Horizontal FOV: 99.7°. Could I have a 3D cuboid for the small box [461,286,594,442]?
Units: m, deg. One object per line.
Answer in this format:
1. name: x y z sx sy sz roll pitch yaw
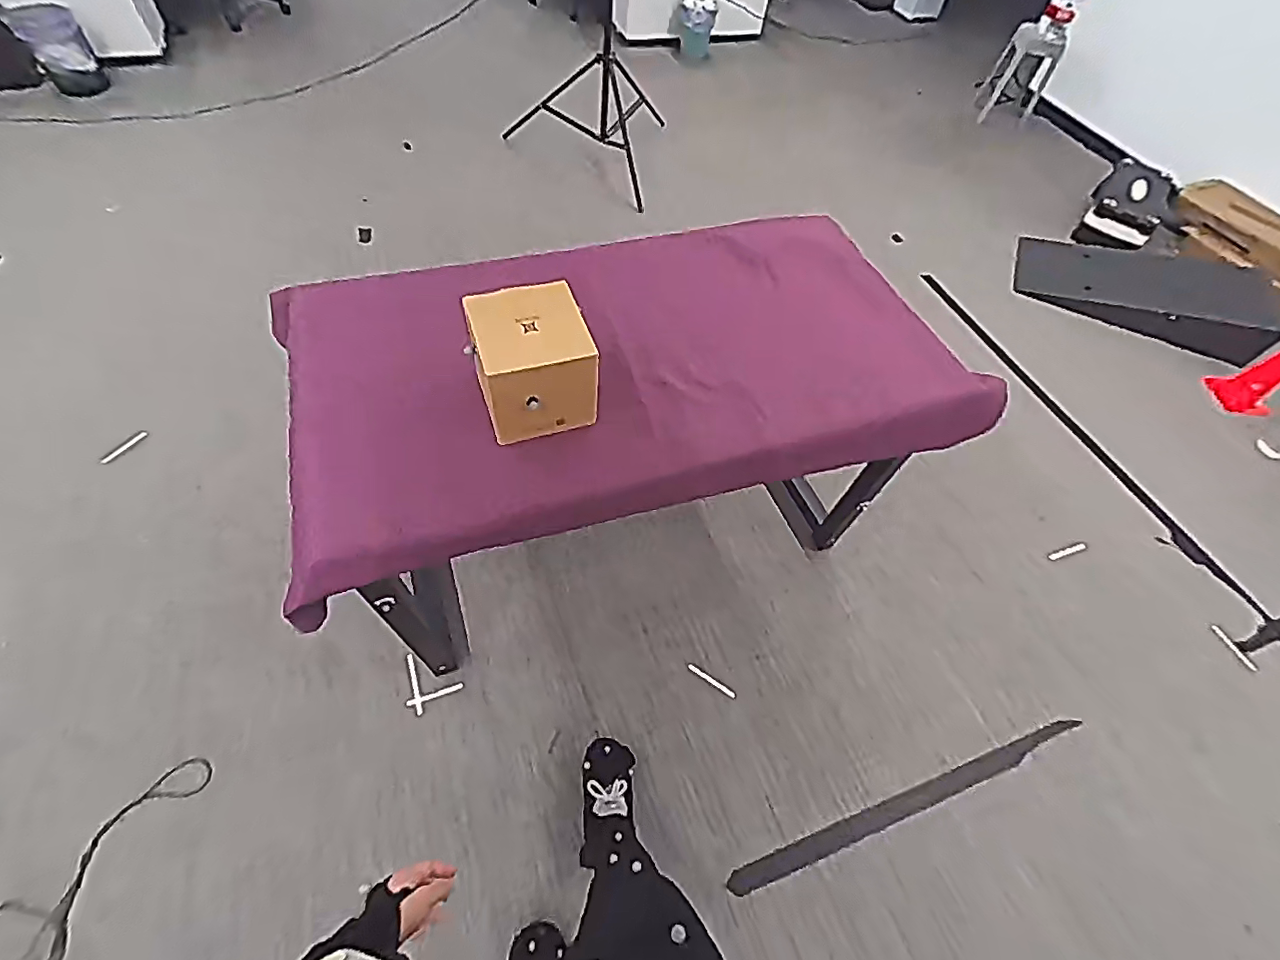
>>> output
1. small box: -0.176 -0.181 0.876 0.168 0.176 0.179 -15 60 -16
